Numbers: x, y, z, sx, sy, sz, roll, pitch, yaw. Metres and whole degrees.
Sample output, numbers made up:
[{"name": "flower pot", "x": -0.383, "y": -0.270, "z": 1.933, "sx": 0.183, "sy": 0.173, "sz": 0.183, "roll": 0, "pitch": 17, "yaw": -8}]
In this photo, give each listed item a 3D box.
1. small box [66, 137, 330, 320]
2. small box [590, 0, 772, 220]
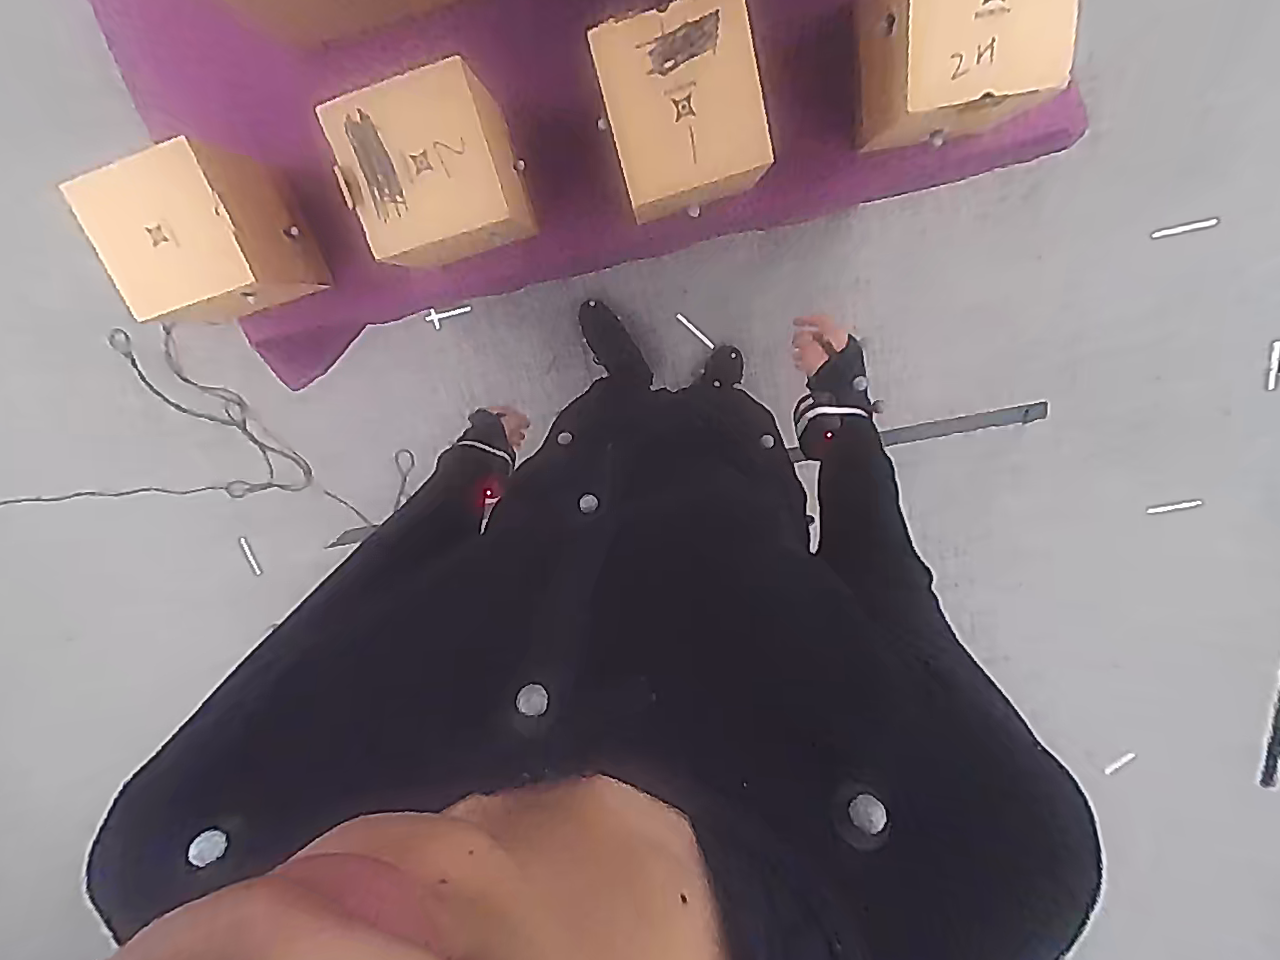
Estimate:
[{"name": "small box", "x": -0.565, "y": -0.318, "z": 0.720, "sx": 0.179, "sy": 0.176, "sz": 0.168, "roll": -16, "pitch": 108, "yaw": 6}, {"name": "small box", "x": 0.048, "y": -0.435, "z": 0.653, "sx": 0.168, "sy": 0.176, "sz": 0.179, "roll": -14, "pitch": 109, "yaw": 8}]
